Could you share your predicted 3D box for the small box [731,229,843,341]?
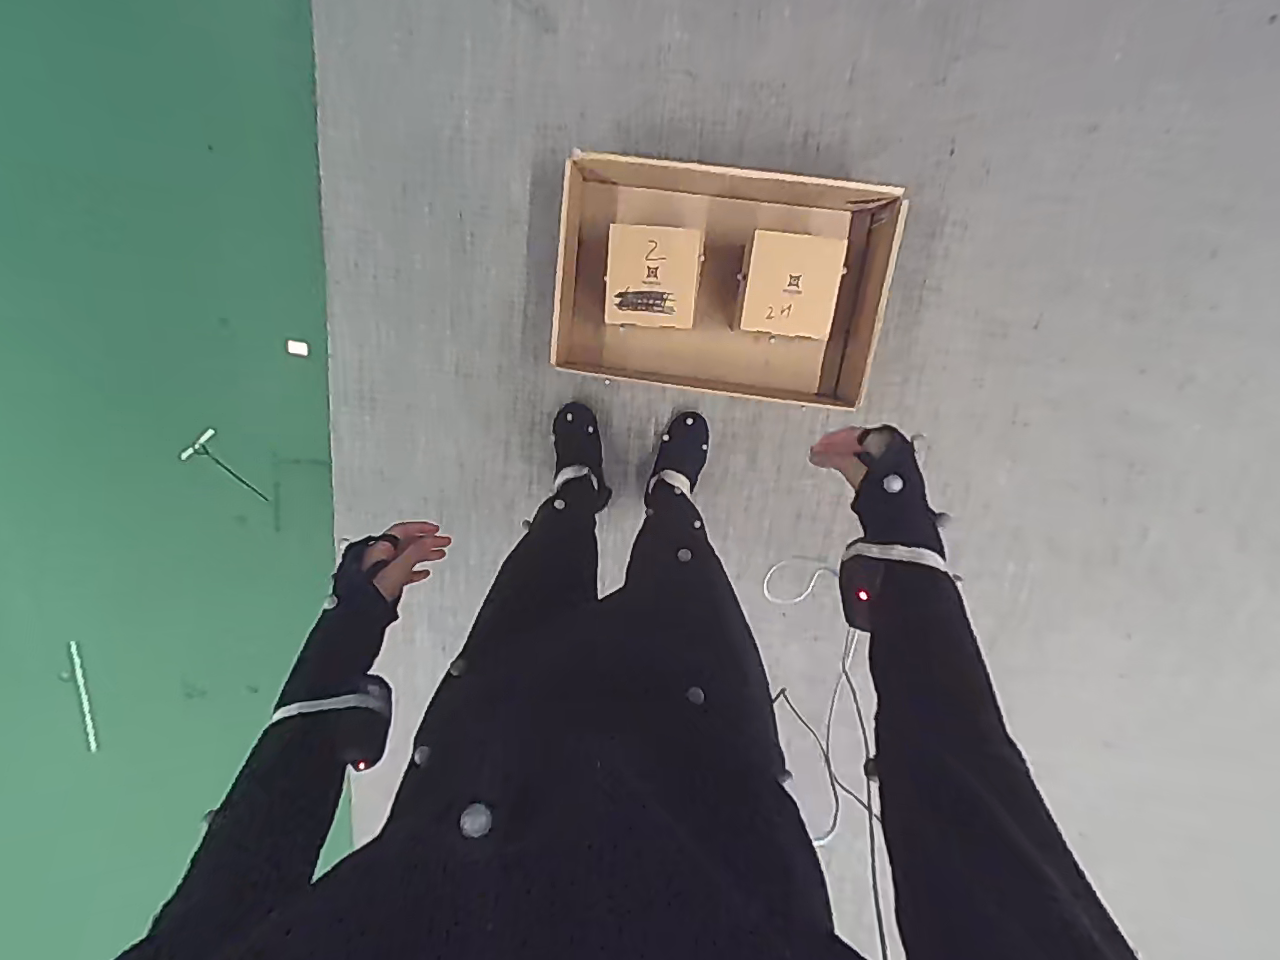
[{"bbox_3d":[0.276,-0.372,1.058,0.168,0.176,0.179,8,105,3],"label":"small box"}]
